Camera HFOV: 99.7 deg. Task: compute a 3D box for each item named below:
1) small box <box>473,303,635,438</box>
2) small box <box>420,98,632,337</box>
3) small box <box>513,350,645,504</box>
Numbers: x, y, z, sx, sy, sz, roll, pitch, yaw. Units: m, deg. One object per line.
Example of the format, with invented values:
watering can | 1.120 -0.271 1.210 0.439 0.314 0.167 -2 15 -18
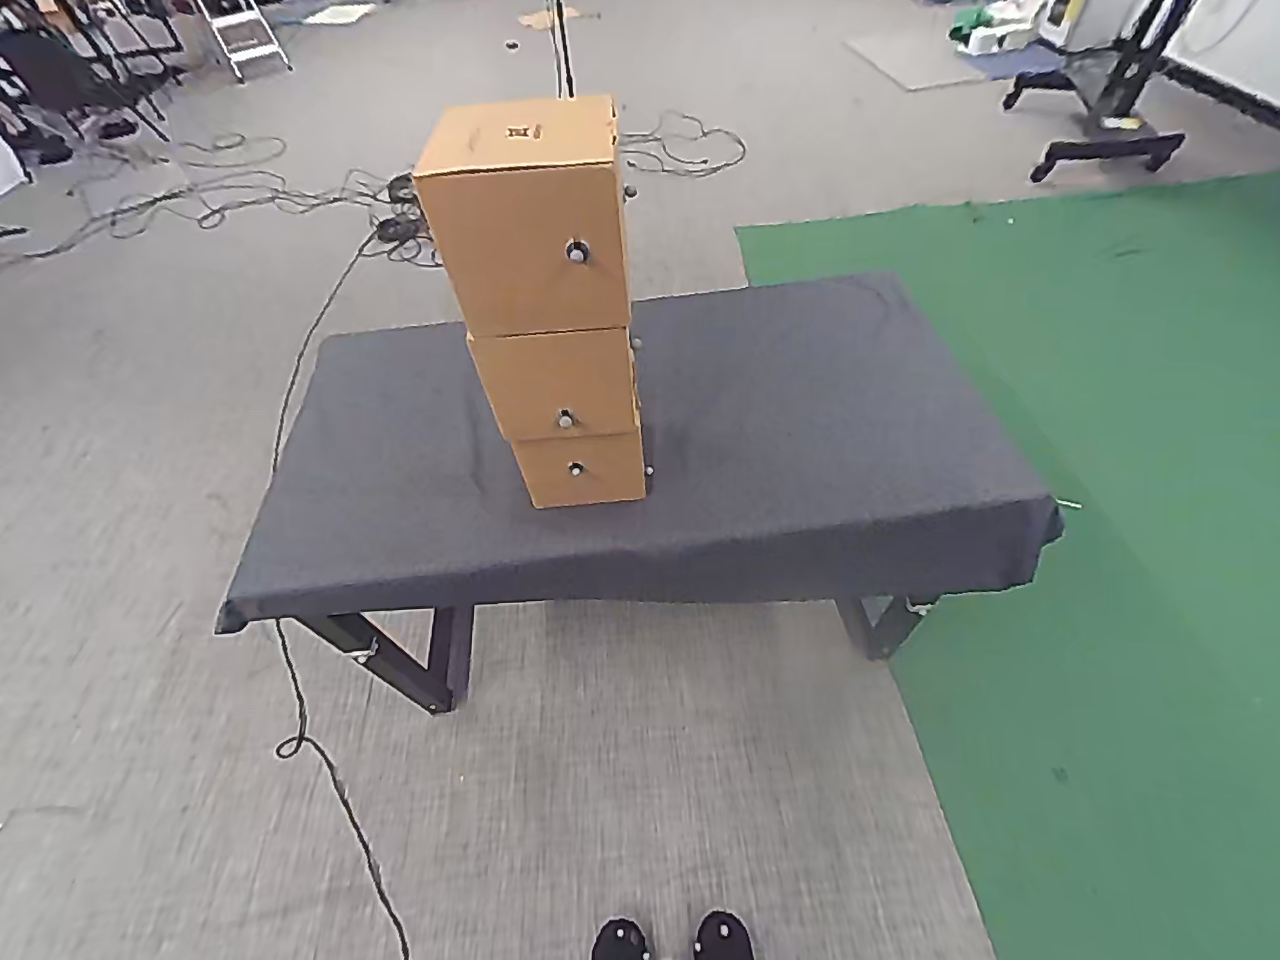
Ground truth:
small box | -0.096 -0.171 0.699 0.179 0.176 0.168 -4 52 0
small box | -0.100 -0.270 0.570 0.179 0.176 0.168 -5 51 2
small box | -0.083 -0.079 0.833 0.179 0.176 0.168 -5 52 1
